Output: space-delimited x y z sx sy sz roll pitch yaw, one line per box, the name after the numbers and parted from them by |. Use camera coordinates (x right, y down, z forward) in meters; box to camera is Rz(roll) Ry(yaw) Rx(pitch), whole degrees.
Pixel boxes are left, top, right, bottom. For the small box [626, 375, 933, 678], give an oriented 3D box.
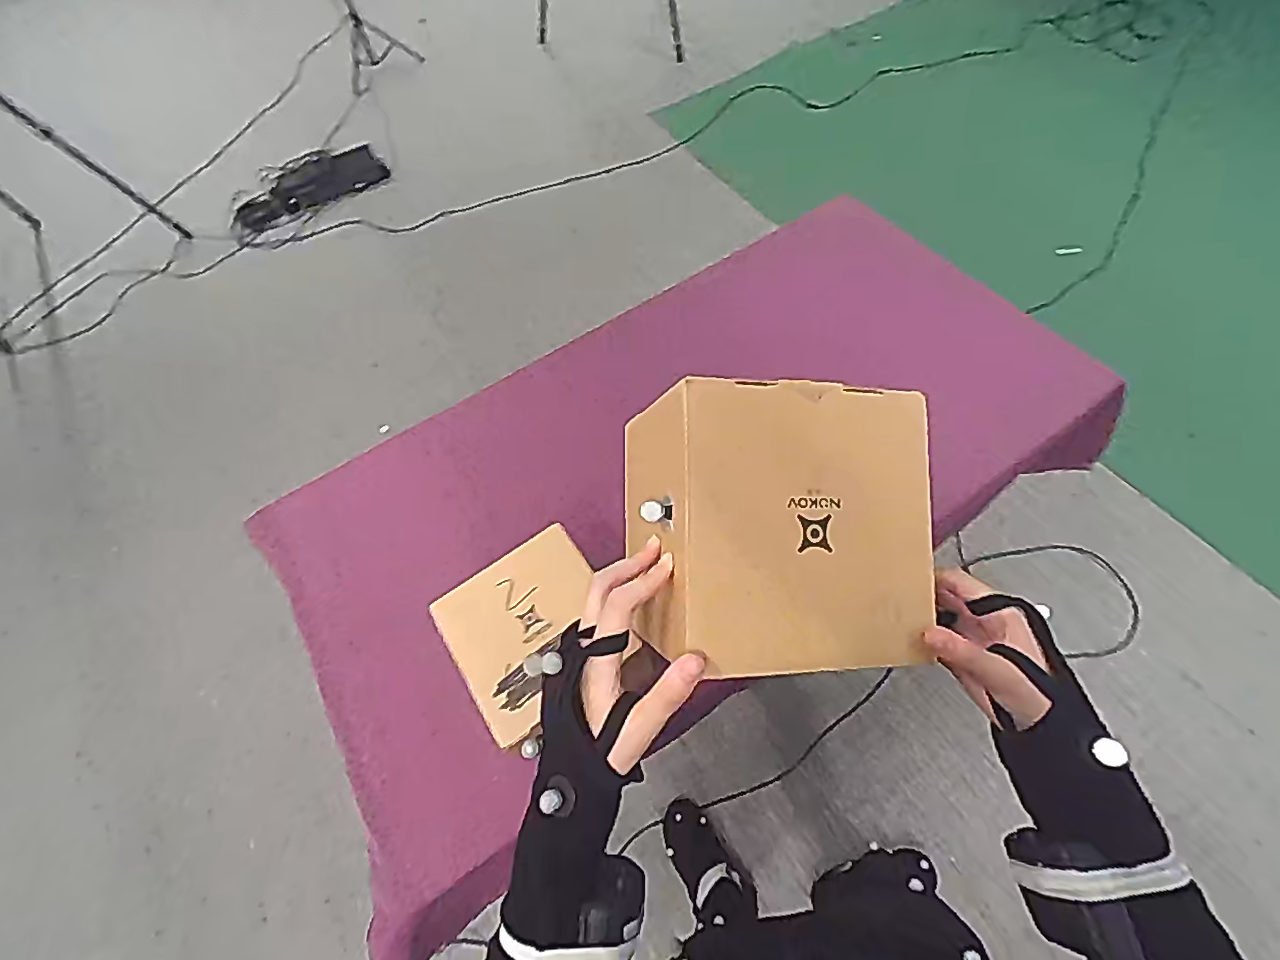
0.086 0.032 0.402 0.168 0.176 0.179 1 85 -13 | small box
